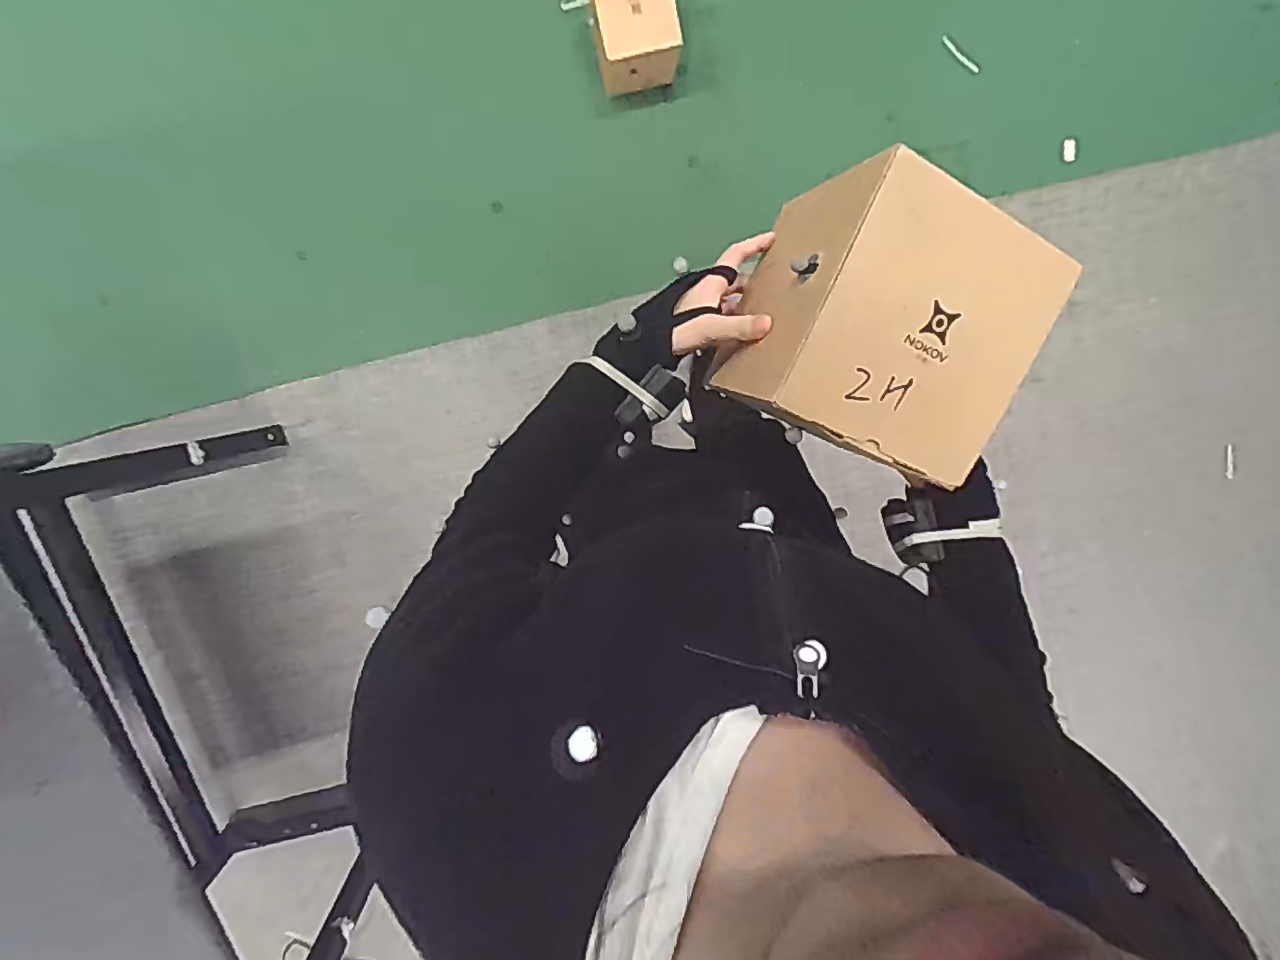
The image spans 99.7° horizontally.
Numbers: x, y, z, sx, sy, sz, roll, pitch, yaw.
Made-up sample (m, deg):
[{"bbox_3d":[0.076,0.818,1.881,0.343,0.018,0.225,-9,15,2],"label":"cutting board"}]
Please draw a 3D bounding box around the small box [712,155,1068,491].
[{"bbox_3d":[0.180,-0.118,0.447,0.168,0.176,0.179,22,99,-15],"label":"small box"}]

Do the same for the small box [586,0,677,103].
[{"bbox_3d":[-0.020,-0.983,1.212,0.168,0.176,0.179,-14,101,0],"label":"small box"}]
